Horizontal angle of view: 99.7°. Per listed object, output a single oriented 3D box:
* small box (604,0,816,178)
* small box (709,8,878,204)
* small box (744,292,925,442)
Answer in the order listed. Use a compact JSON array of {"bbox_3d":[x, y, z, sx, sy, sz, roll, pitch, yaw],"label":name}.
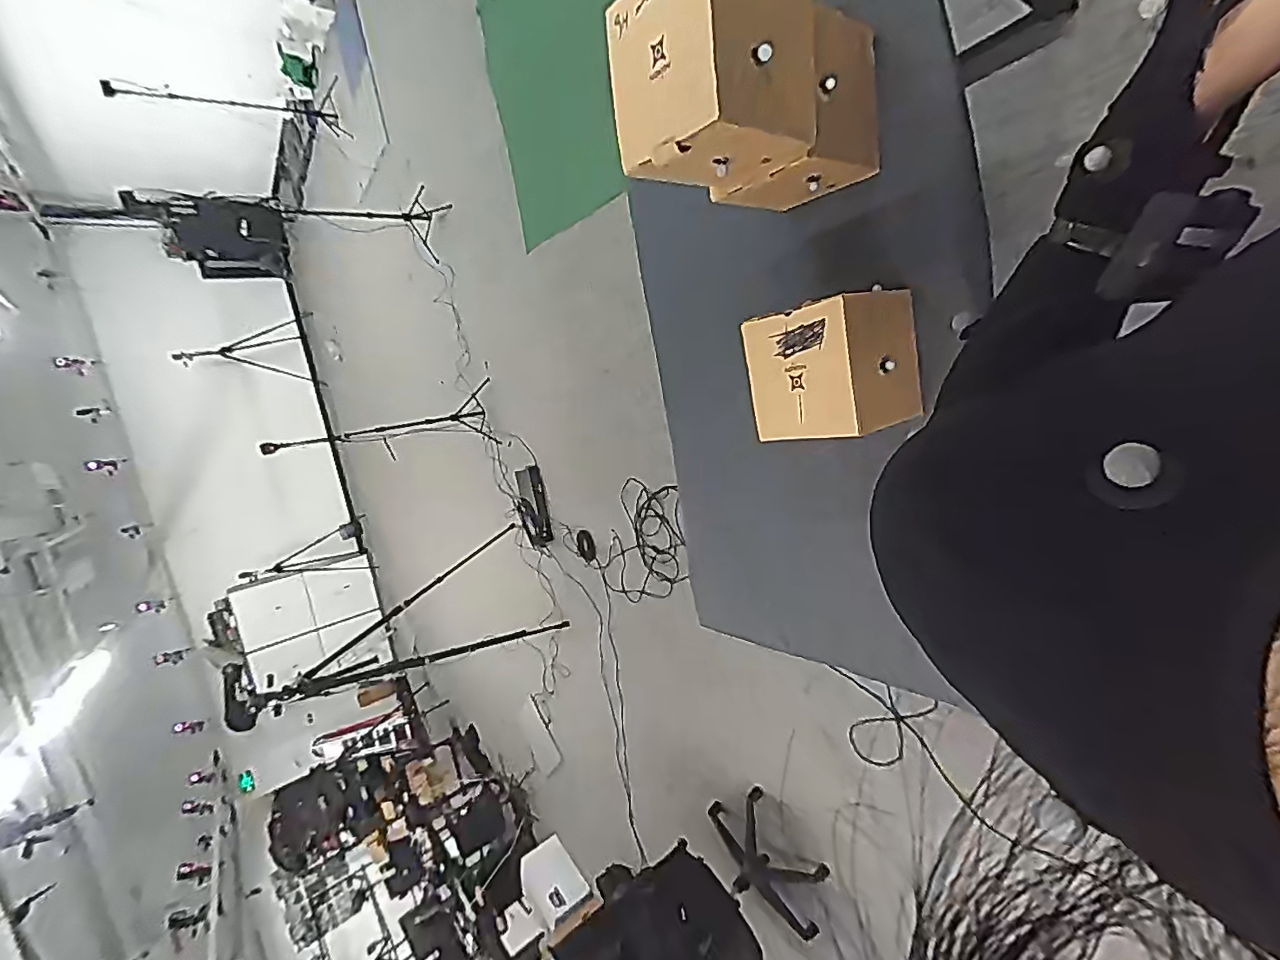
[{"bbox_3d":[0.083,-0.460,0.614,0.168,0.176,0.179,10,112,51],"label":"small box"},{"bbox_3d":[0.201,-0.487,0.726,0.168,0.176,0.179,5,107,51],"label":"small box"},{"bbox_3d":[0.274,-0.158,0.759,0.168,0.176,0.179,2,106,54],"label":"small box"}]
